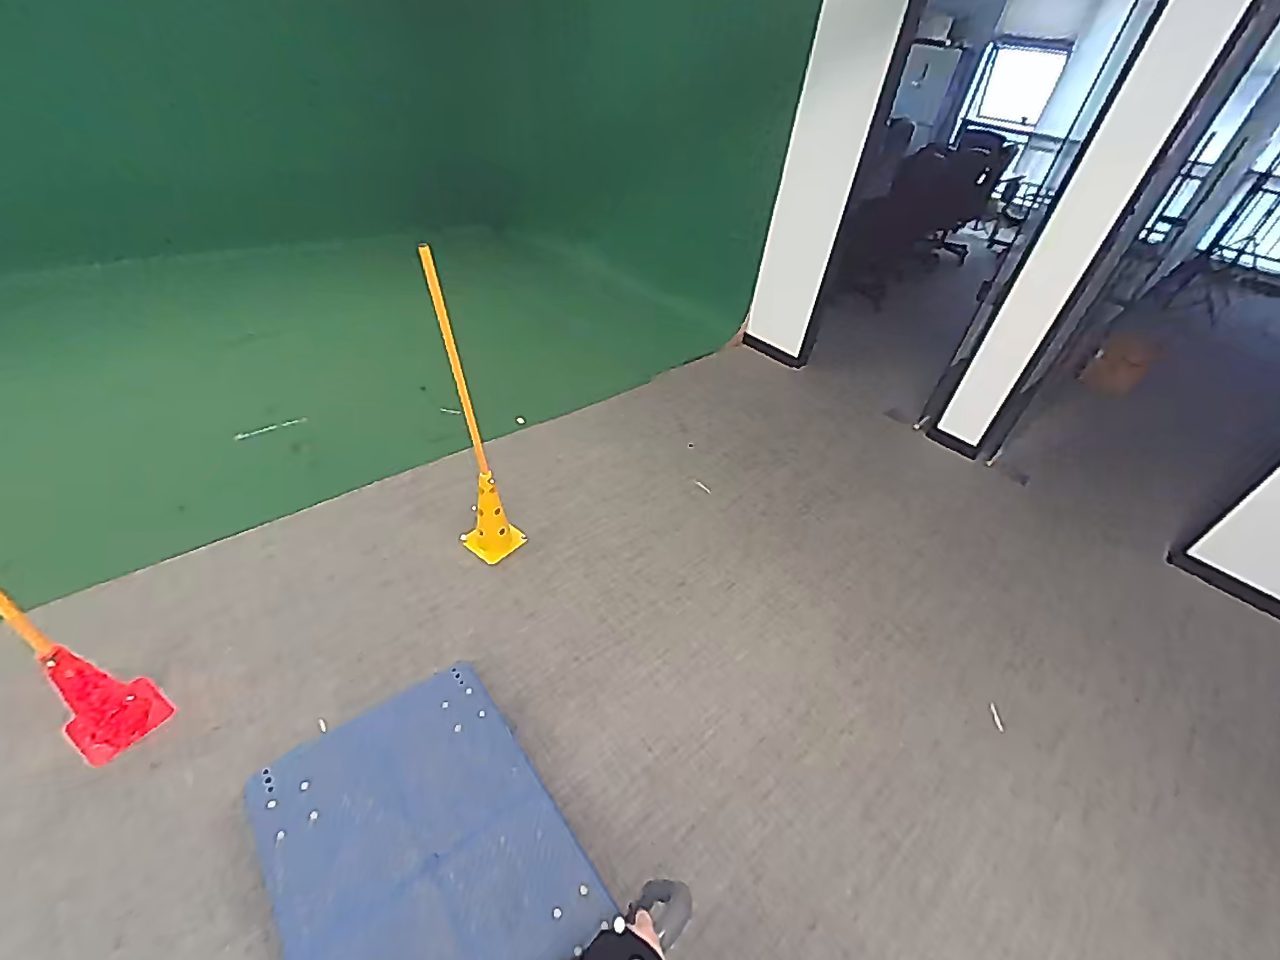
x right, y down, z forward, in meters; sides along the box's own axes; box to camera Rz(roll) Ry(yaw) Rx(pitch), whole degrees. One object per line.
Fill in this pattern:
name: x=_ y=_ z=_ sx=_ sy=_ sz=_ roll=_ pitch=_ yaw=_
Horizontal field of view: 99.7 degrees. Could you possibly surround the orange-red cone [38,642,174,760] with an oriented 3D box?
orange-red cone: x=-1.462 y=0.544 z=1.432 sx=0.198 sy=0.360 sz=0.199 roll=27 pitch=45 yaw=22
